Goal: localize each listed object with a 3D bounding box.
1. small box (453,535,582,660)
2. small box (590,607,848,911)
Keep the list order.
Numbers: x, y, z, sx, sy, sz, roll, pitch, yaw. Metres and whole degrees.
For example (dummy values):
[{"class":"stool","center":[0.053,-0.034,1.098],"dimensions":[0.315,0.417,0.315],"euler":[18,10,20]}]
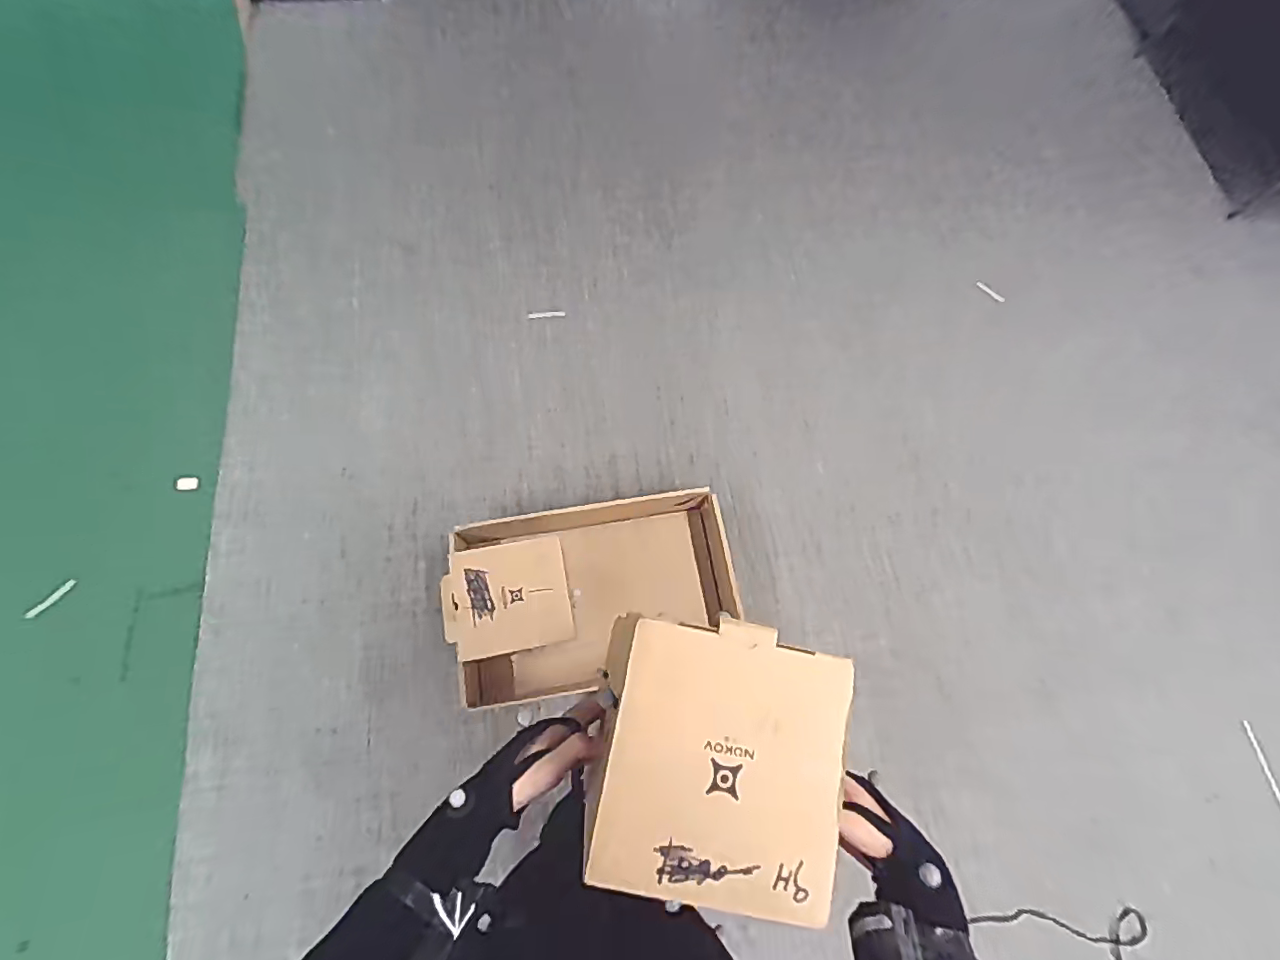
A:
[{"class":"small box","center":[-0.197,0.201,0.907],"dimensions":[0.179,0.176,0.168],"euler":[-10,76,-7]},{"class":"small box","center":[0.055,0.211,0.461],"dimensions":[0.168,0.176,0.179],"euler":[12,77,-1]}]
